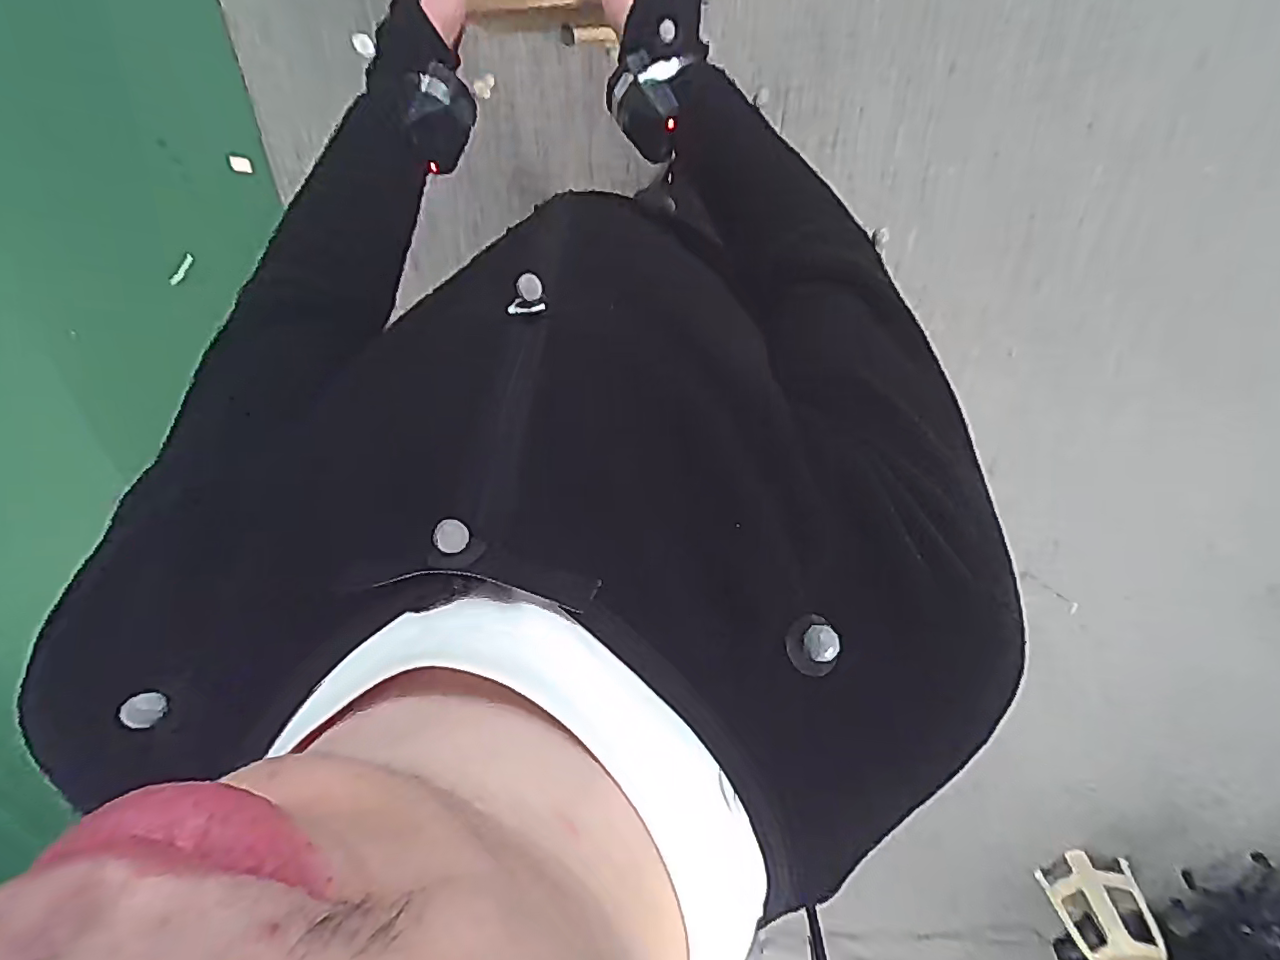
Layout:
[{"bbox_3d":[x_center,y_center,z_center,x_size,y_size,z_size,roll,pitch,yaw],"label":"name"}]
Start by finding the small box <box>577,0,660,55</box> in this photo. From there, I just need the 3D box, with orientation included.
[{"bbox_3d":[-0.048,-0.947,1.043,0.168,0.176,0.179,6,124,3],"label":"small box"}]

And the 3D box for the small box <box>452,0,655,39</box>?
[{"bbox_3d":[-0.078,-0.514,0.489,0.179,0.176,0.168,-2,125,0],"label":"small box"}]
